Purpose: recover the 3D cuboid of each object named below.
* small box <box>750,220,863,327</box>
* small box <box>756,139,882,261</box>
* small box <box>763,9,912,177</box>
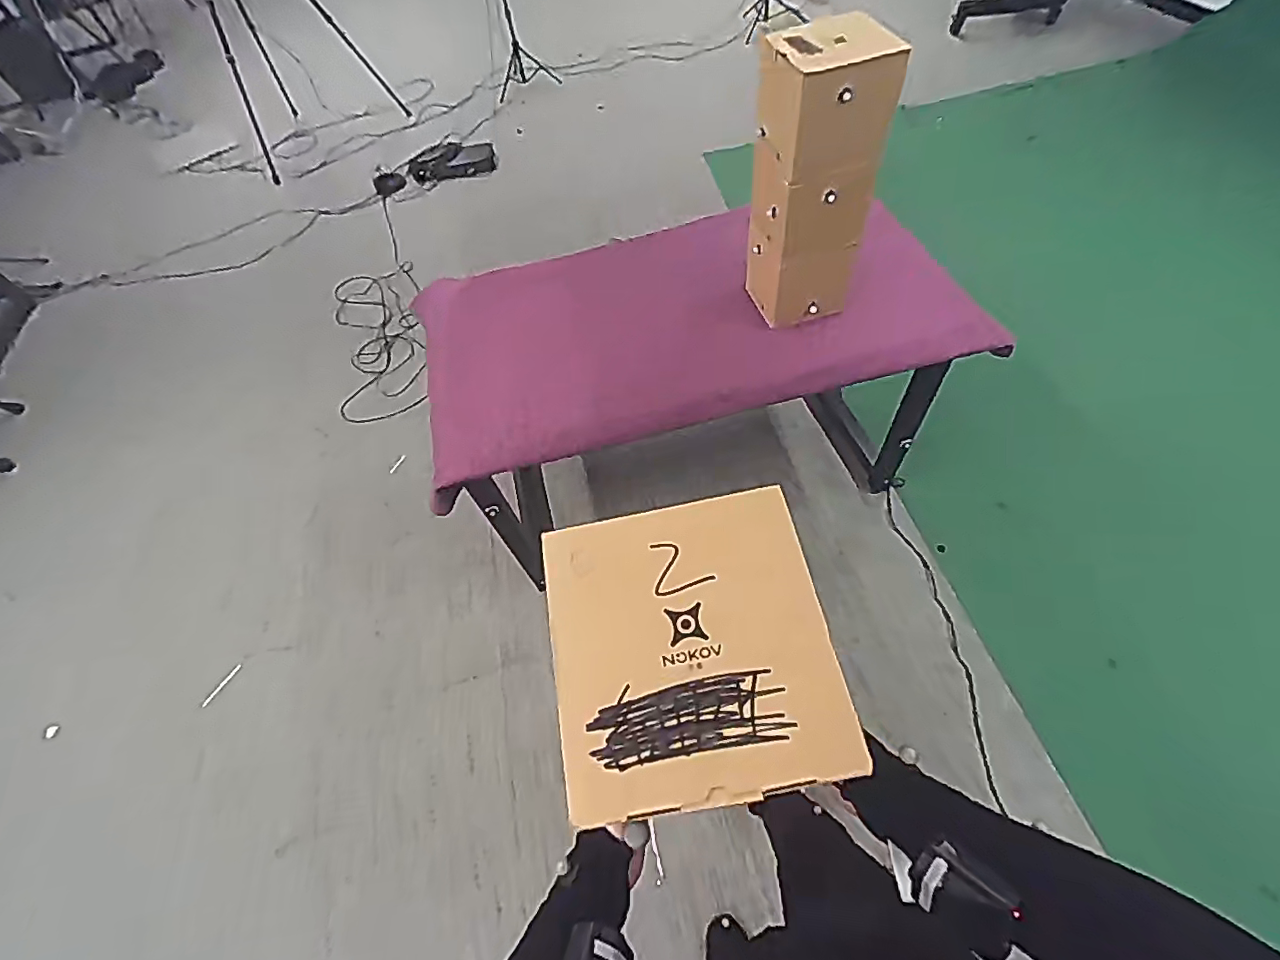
[{"bbox_3d":[0.353,-0.466,1.185,0.179,0.176,0.168,-16,57,-3],"label":"small box"},{"bbox_3d":[0.334,-0.555,1.049,0.179,0.176,0.168,-15,58,-2],"label":"small box"},{"bbox_3d":[0.317,-0.645,0.913,0.179,0.176,0.168,-16,58,-2],"label":"small box"}]
